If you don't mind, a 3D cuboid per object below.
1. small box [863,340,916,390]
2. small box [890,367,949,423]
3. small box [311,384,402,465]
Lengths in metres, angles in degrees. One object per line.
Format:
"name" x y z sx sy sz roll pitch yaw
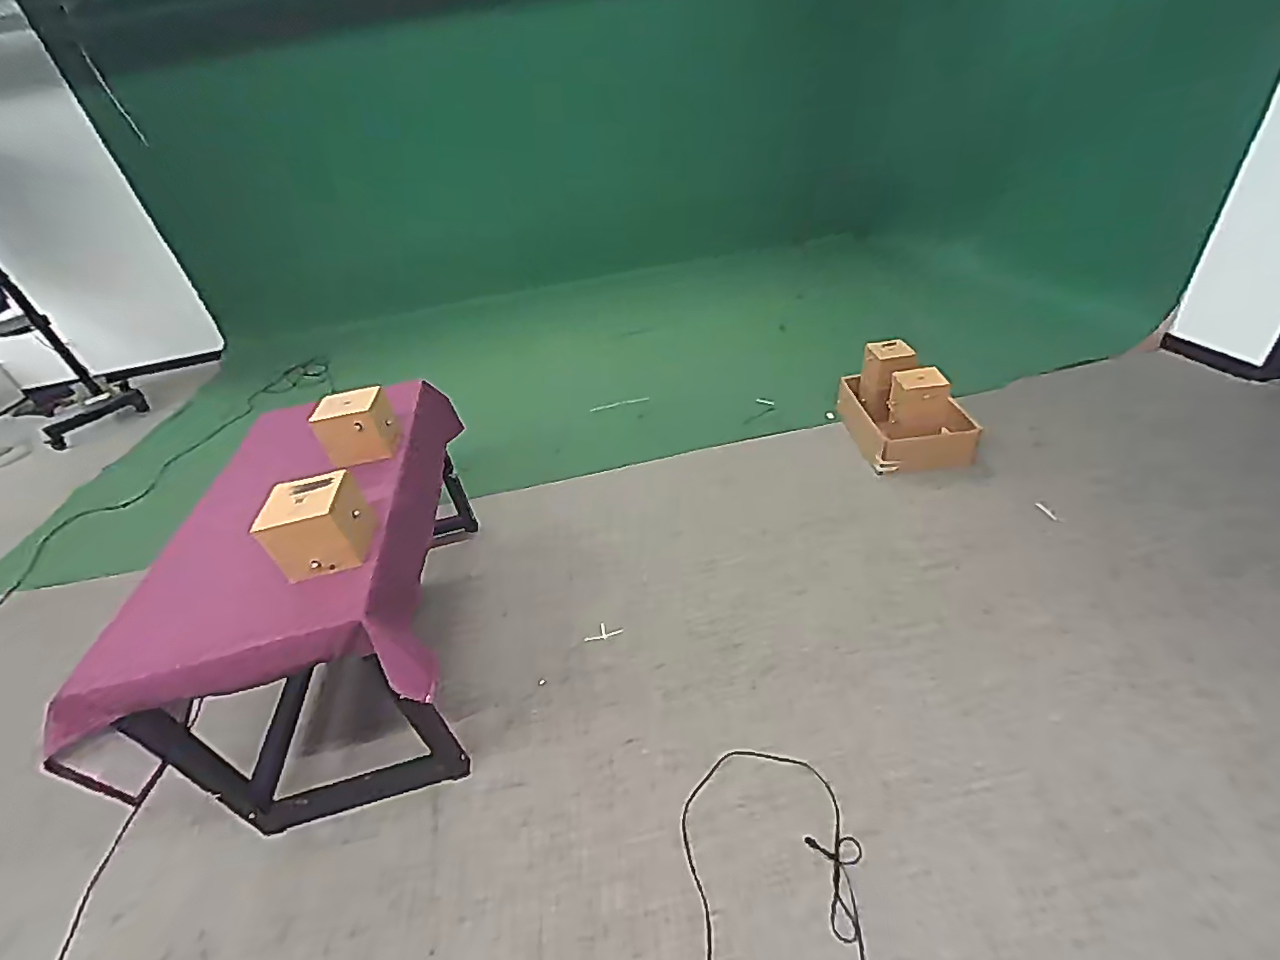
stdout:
"small box" 1.167 -0.543 2.547 0.168 0.176 0.179 -7 37 2
"small box" 1.187 -0.361 2.308 0.179 0.176 0.168 -6 36 9
"small box" -0.852 -0.169 1.647 0.179 0.176 0.168 -12 36 -3
